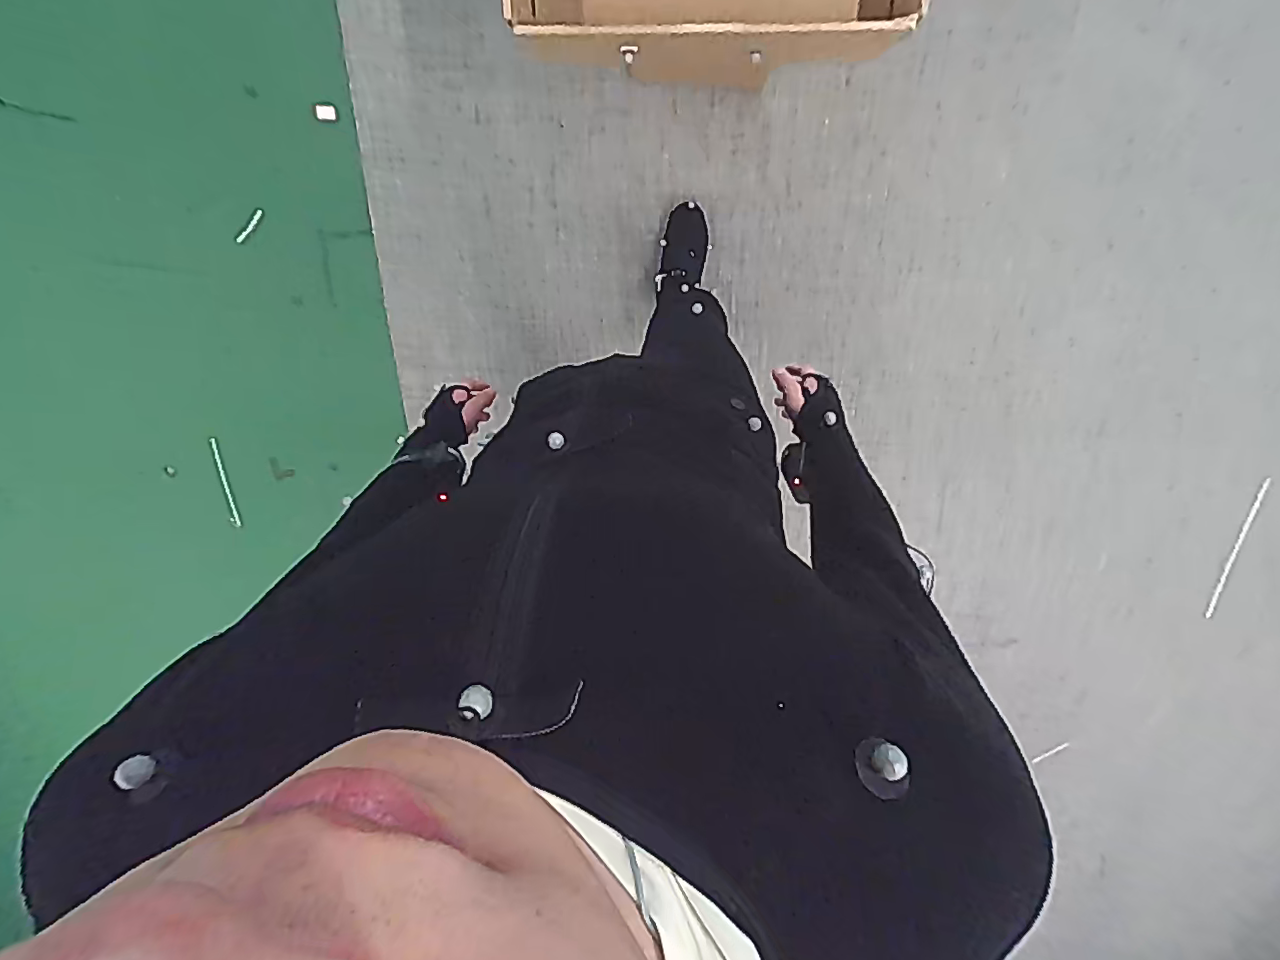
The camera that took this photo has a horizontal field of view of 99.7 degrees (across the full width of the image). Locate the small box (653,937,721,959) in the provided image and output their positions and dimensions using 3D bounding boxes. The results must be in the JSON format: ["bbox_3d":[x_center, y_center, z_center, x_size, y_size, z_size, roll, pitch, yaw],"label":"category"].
[{"bbox_3d":[0.115,1.251,1.308,0.168,0.176,0.179,-1,113,4],"label":"small box"}]
